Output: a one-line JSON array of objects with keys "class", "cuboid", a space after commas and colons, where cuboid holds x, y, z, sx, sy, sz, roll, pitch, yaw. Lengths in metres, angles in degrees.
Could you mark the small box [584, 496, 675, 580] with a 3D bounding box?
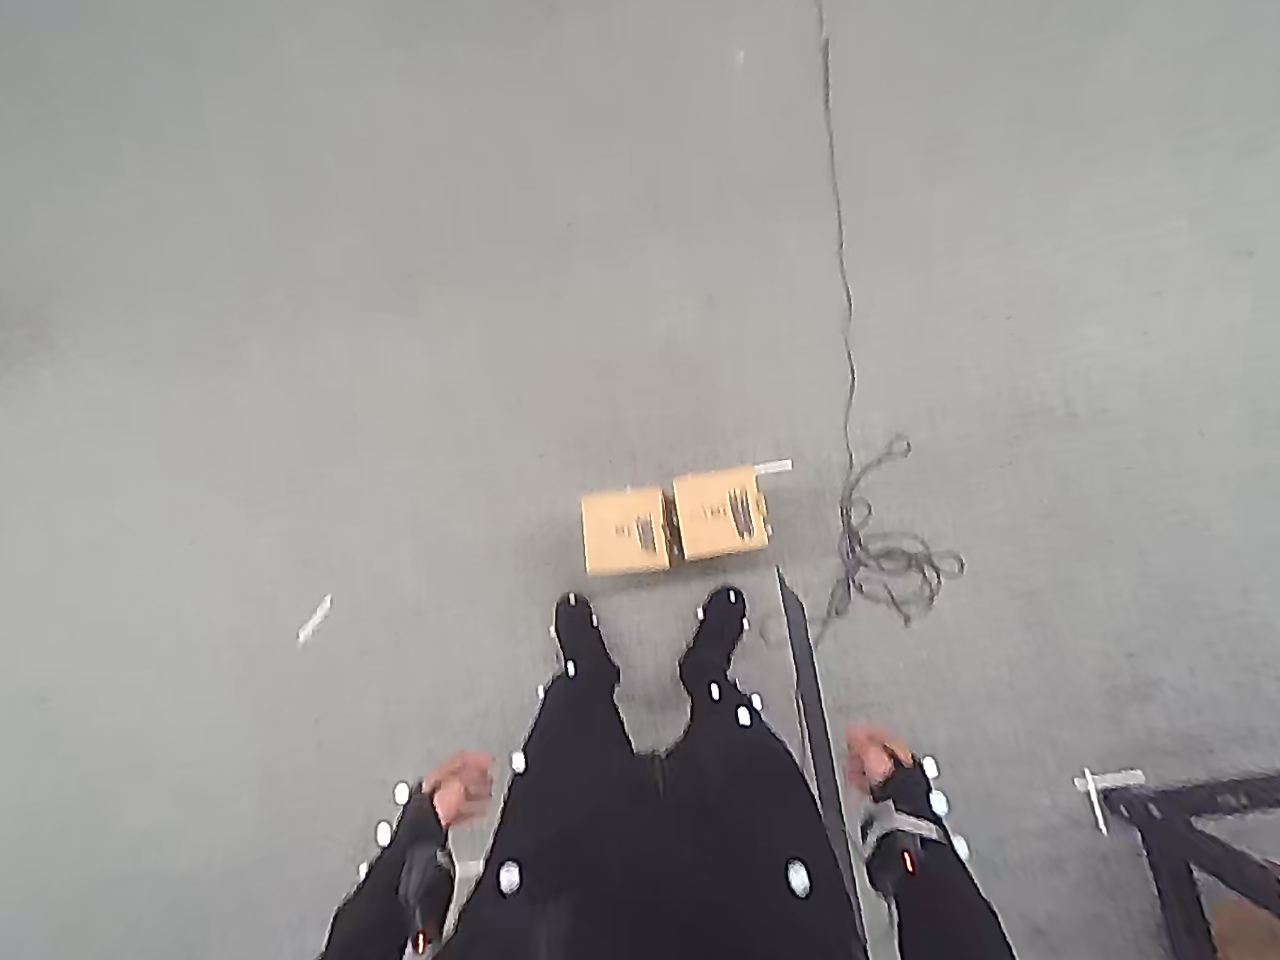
[{"class": "small box", "cuboid": [-0.016, 0.128, 1.201, 0.179, 0.176, 0.168, -6, 81, 8]}]
